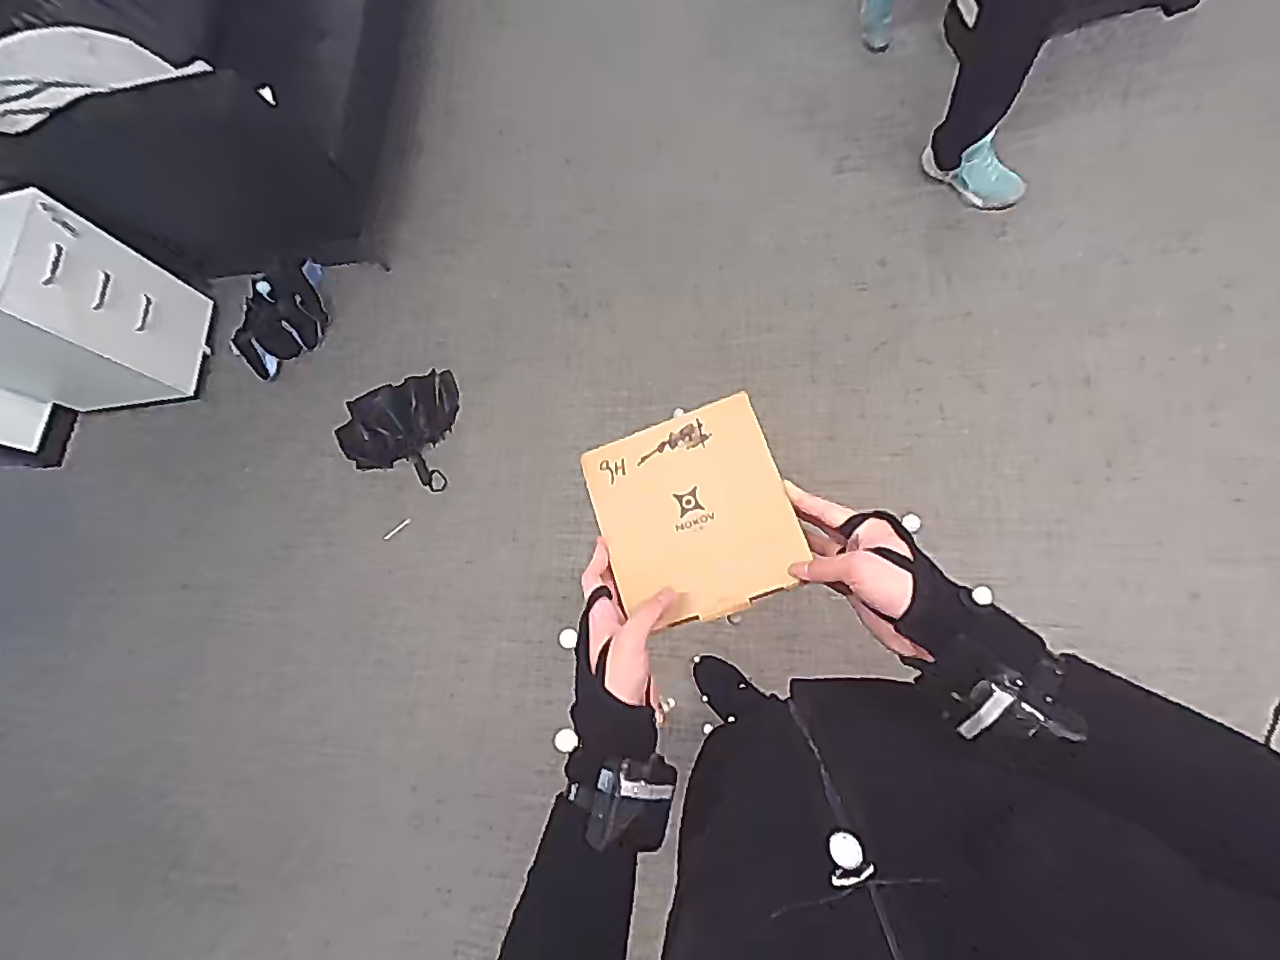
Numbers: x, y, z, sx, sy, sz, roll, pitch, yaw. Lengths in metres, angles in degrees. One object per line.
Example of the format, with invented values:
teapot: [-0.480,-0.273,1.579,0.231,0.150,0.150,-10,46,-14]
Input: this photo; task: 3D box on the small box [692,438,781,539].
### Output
small box: [0.224,0.026,1.262,0.168,0.176,0.179,-13,72,8]
